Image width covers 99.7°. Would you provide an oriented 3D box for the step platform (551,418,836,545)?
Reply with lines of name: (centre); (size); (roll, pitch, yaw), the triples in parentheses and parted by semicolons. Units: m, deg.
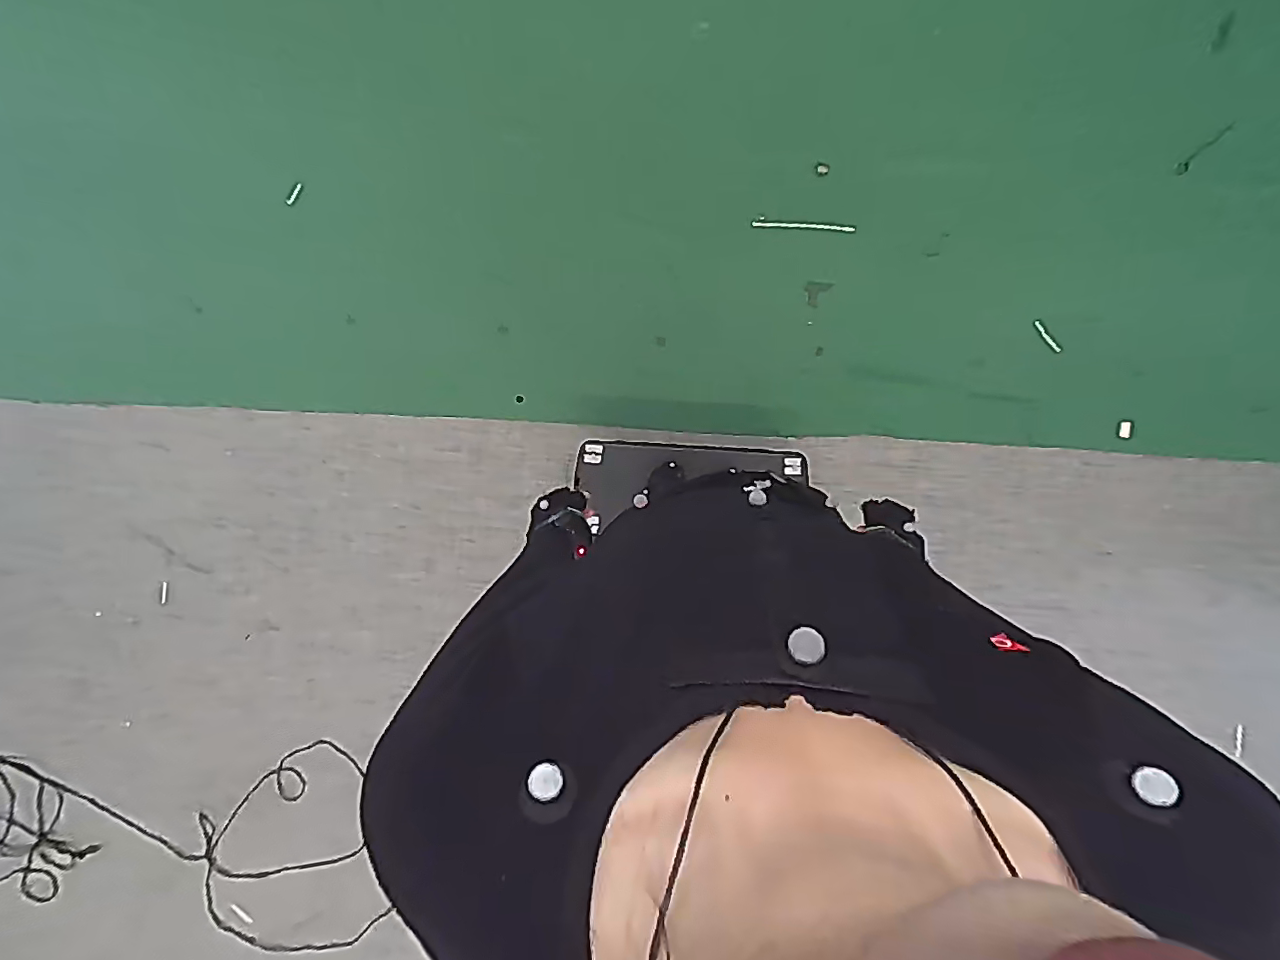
step platform: (0.128, 0.001, 1.389); (0.684, 0.204, 0.286); (3, 93, 2)
